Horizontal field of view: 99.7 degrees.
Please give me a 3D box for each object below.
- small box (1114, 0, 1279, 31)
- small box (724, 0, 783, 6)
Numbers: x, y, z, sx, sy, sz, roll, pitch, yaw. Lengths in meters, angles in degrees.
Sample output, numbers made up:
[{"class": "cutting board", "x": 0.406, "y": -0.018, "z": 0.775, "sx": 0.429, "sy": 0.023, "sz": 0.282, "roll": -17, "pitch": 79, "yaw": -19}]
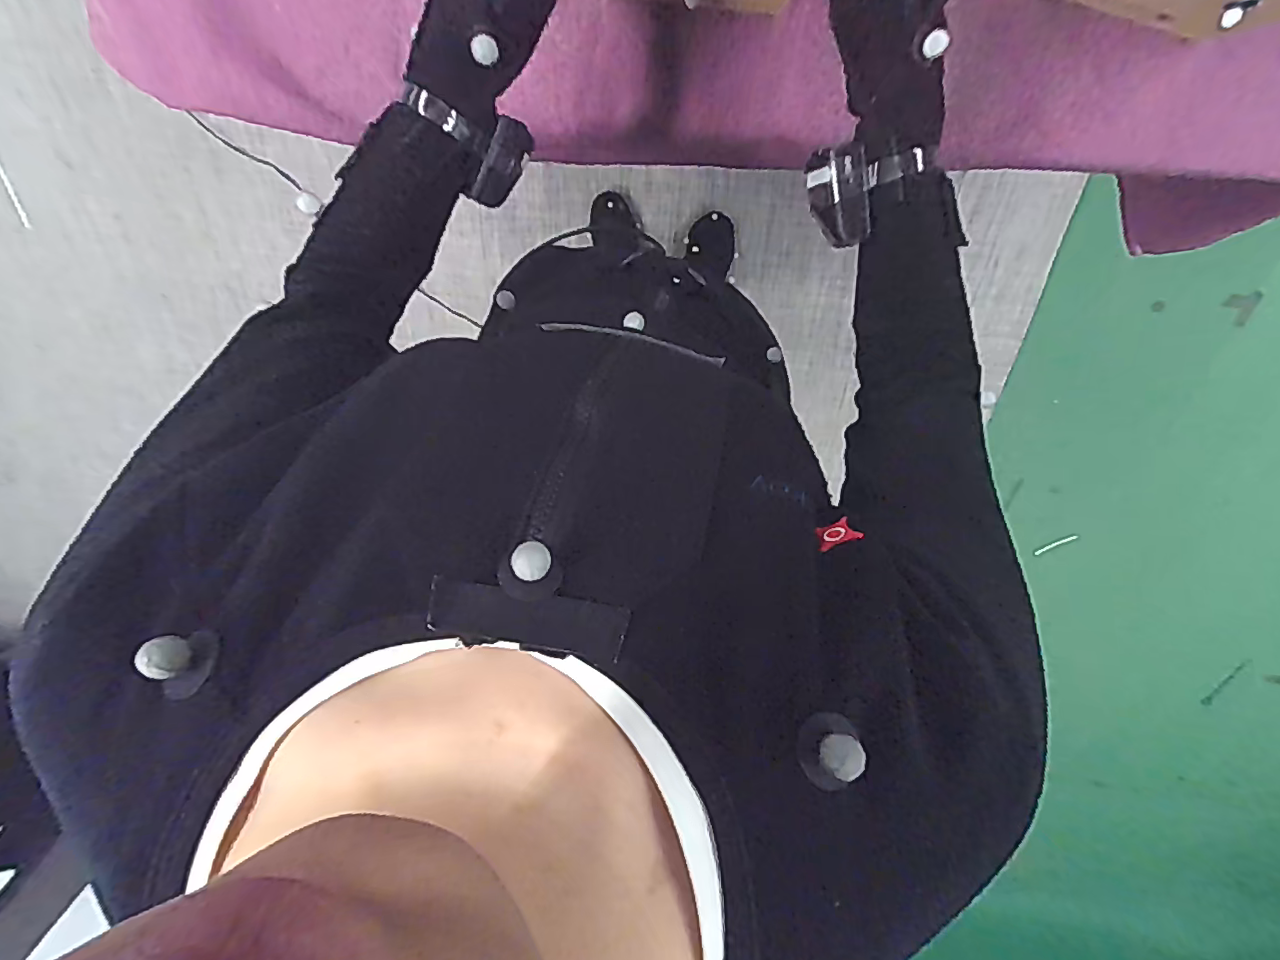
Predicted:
[{"class": "small box", "x": 0.441, "y": -0.445, "z": 0.368, "sx": 0.168, "sy": 0.176, "sz": 0.179, "roll": 14, "pitch": 120, "yaw": -3}, {"class": "small box", "x": 0.055, "y": -0.474, "z": 0.387, "sx": 0.168, "sy": 0.176, "sz": 0.179, "roll": 7, "pitch": 121, "yaw": 1}]
